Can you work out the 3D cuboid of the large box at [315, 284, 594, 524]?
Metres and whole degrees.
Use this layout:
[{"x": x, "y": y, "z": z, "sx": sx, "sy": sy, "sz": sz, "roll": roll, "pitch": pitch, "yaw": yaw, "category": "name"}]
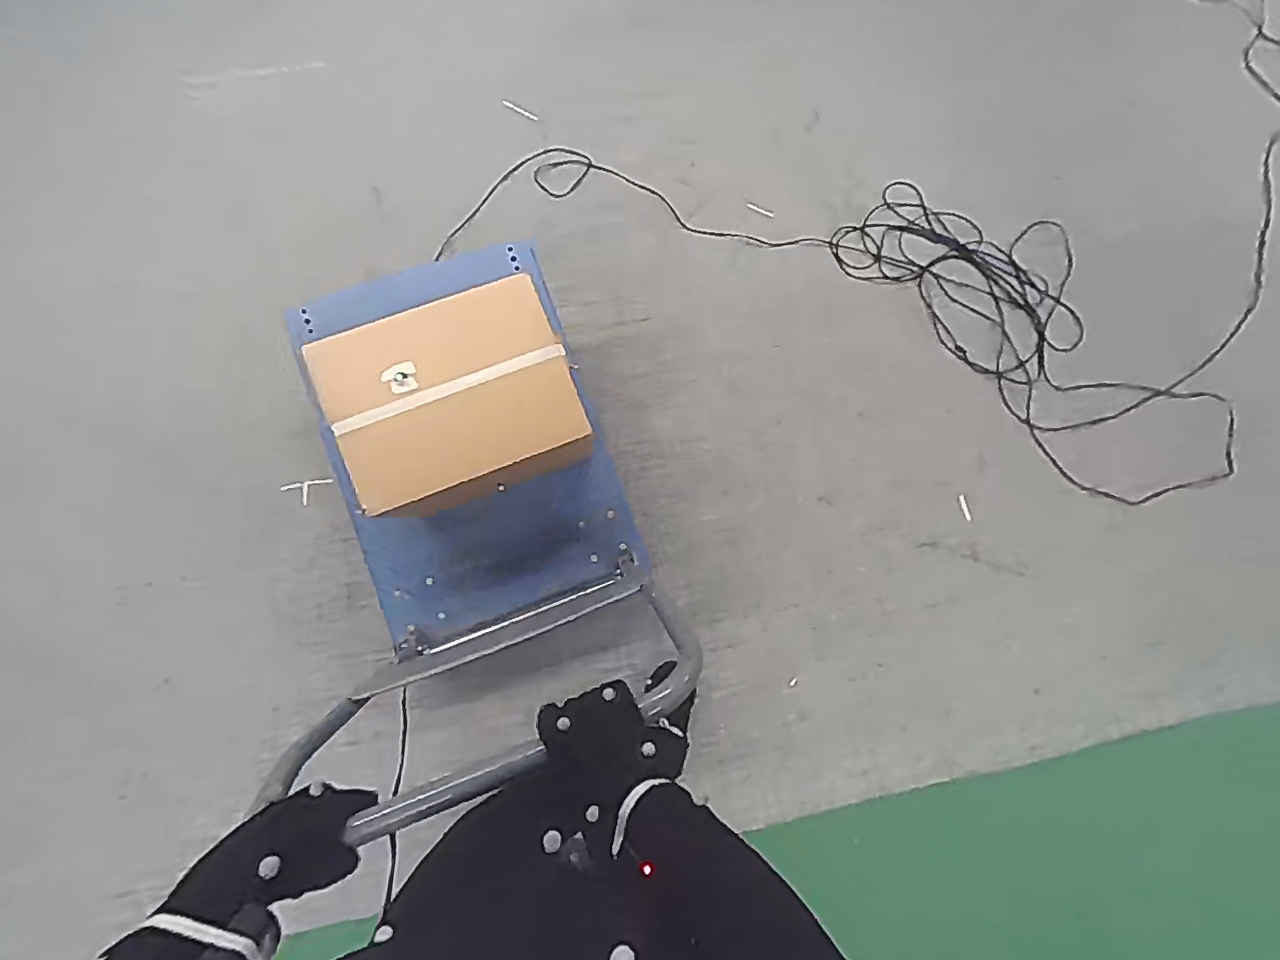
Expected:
[{"x": -0.334, "y": -0.130, "z": 1.094, "sx": 0.408, "sy": 0.320, "sz": 0.320, "roll": -22, "pitch": 87, "yaw": -6, "category": "large box"}]
